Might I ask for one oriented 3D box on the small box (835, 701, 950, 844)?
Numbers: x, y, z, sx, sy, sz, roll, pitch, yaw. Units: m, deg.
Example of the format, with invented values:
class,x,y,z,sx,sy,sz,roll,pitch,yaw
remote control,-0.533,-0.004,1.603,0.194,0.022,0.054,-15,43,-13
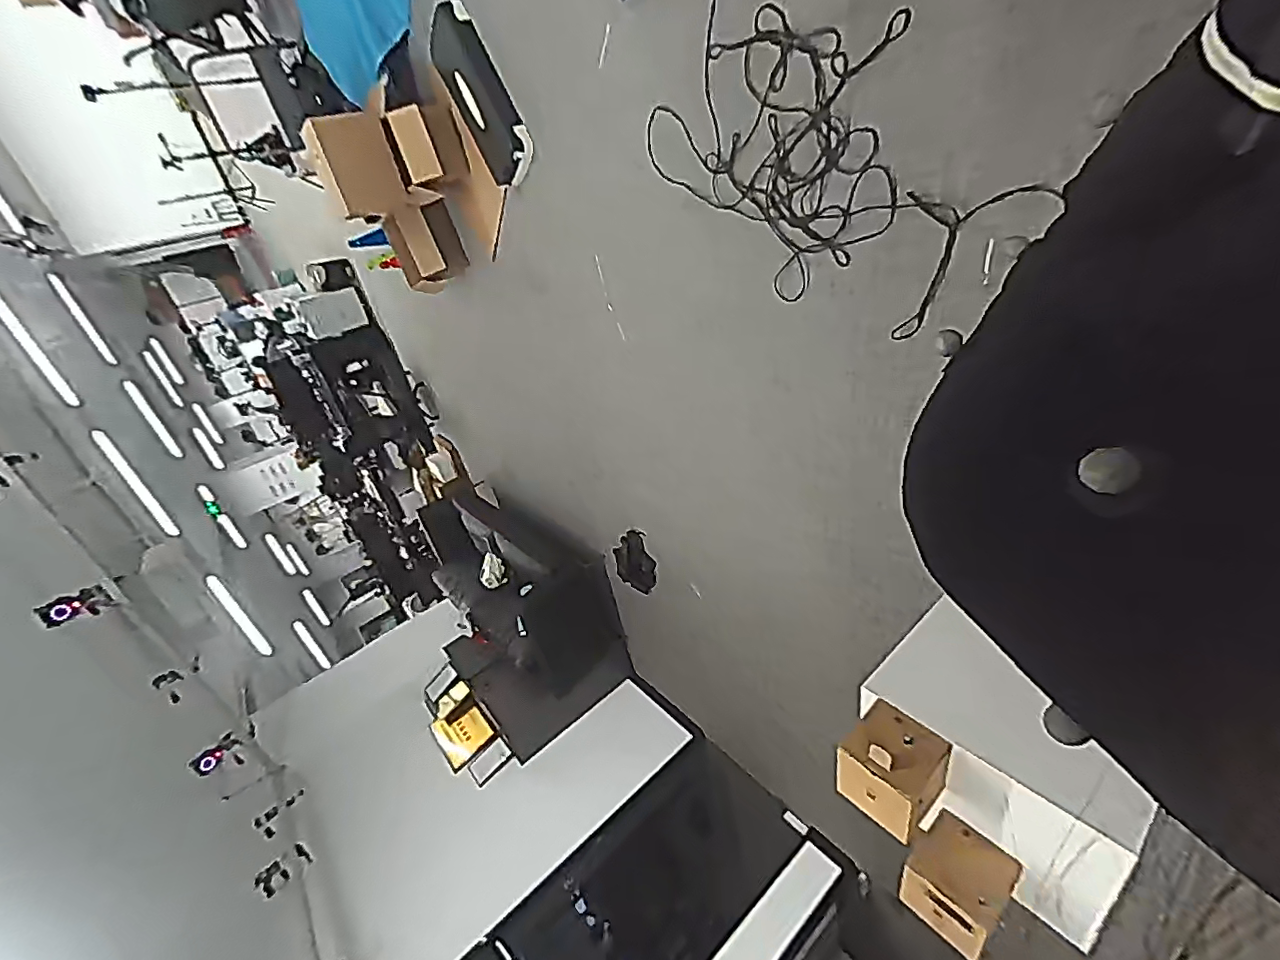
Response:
class,x,y,z,sx,sy,sz,roll,pitch,yaw
small box,0.547,0.629,1.178,0.168,0.176,0.179,26,138,46
